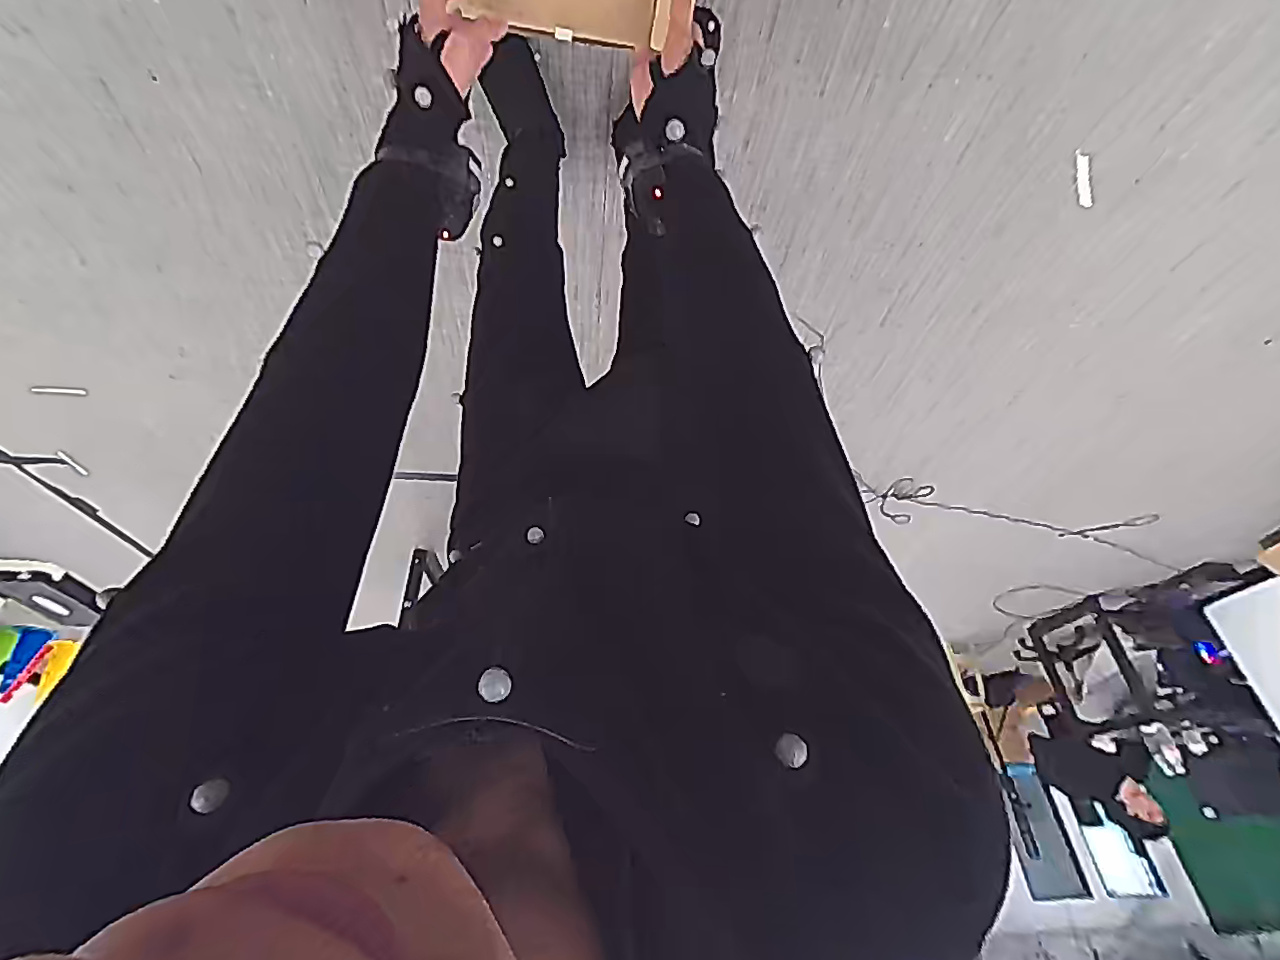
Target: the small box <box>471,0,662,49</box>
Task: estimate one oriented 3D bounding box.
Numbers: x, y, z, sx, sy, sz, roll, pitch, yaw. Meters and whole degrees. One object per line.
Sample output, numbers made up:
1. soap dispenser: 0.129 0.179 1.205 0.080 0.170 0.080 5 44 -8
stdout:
1. small box: -0.060 -0.543 0.496 0.179 0.176 0.168 5 146 -11
